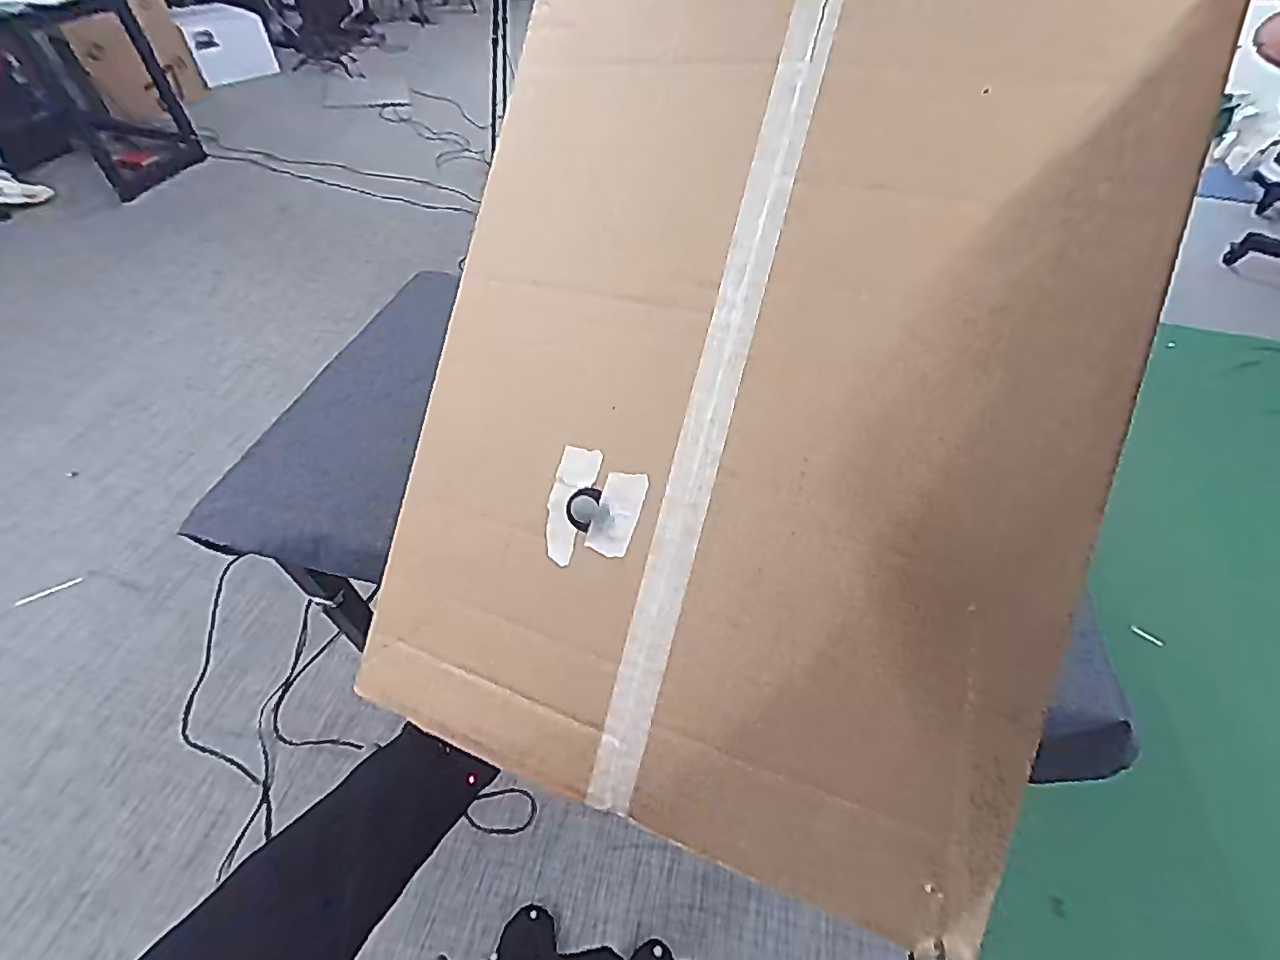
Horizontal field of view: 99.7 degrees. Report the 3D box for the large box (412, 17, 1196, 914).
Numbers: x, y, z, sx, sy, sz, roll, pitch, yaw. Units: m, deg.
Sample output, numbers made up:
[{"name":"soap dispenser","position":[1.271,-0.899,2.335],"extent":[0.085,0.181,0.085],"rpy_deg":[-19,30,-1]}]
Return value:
[{"name":"large box","position":[0.090,-0.029,0.416],"extent":[0.320,0.320,0.408],"rpy_deg":[14,92,16]}]
